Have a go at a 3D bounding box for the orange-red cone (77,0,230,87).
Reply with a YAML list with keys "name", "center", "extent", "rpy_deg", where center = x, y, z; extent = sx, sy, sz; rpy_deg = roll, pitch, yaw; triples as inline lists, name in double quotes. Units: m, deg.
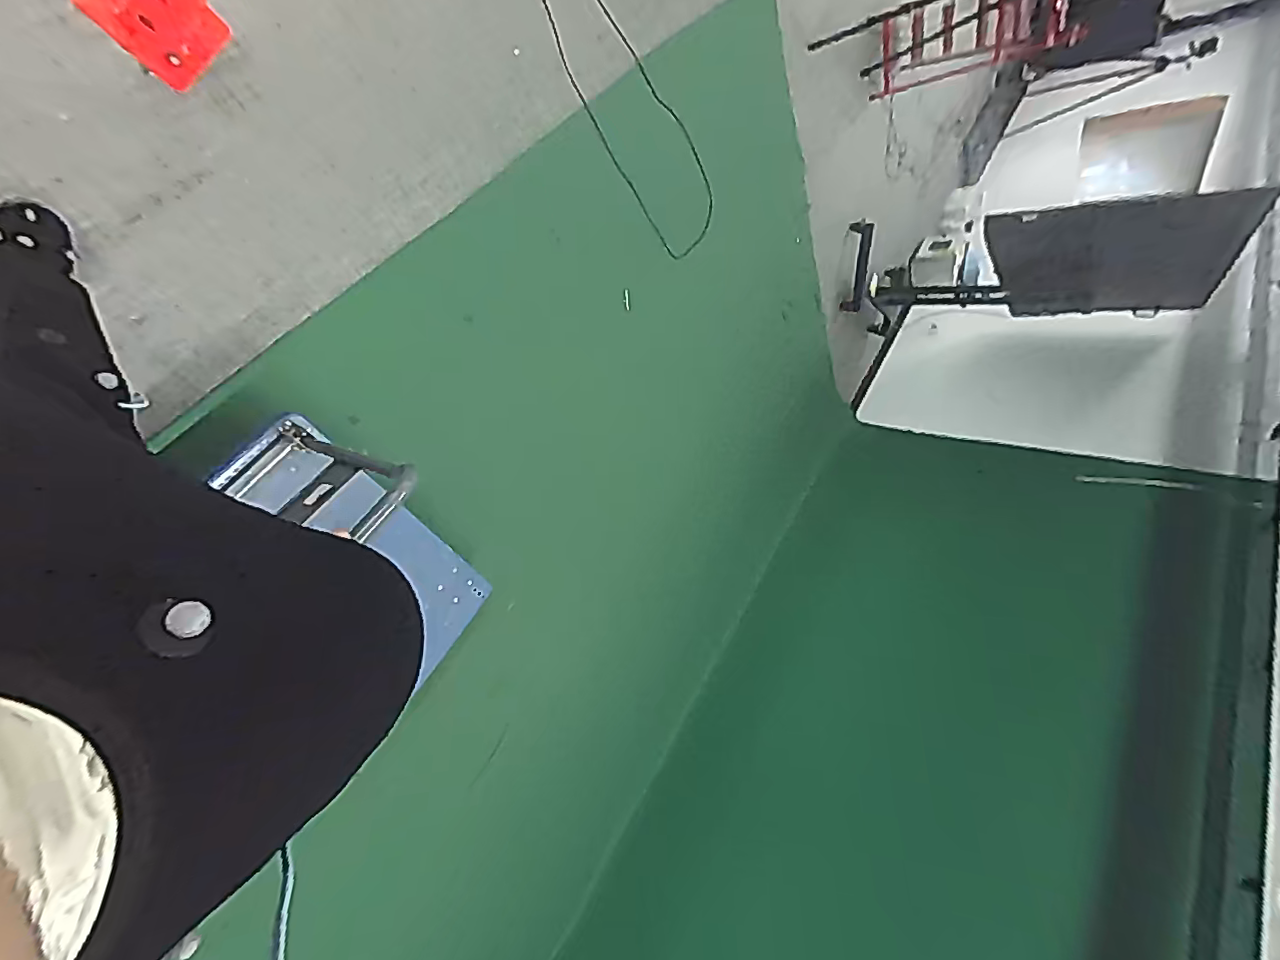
- name: "orange-red cone"
  center: [-0.864, -0.927, 1.009]
  extent: [0.198, 0.360, 0.199]
  rpy_deg: [43, 67, -49]
